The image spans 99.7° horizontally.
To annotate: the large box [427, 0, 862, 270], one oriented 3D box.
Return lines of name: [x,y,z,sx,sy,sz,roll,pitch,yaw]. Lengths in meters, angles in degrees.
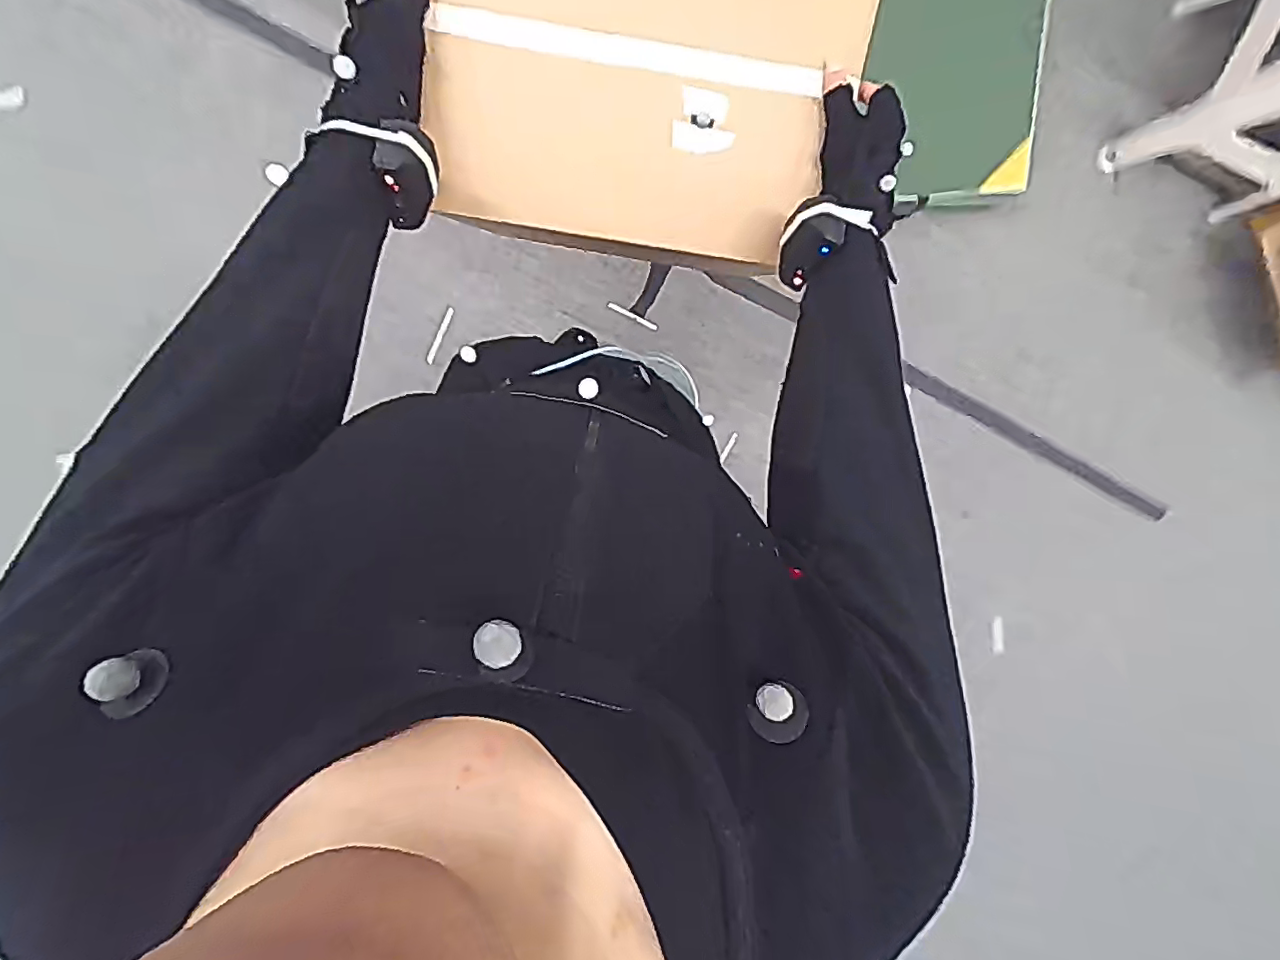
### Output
large box: [-0.006,-0.442,0.651,0.408,0.320,0.320,6,110,-4]
